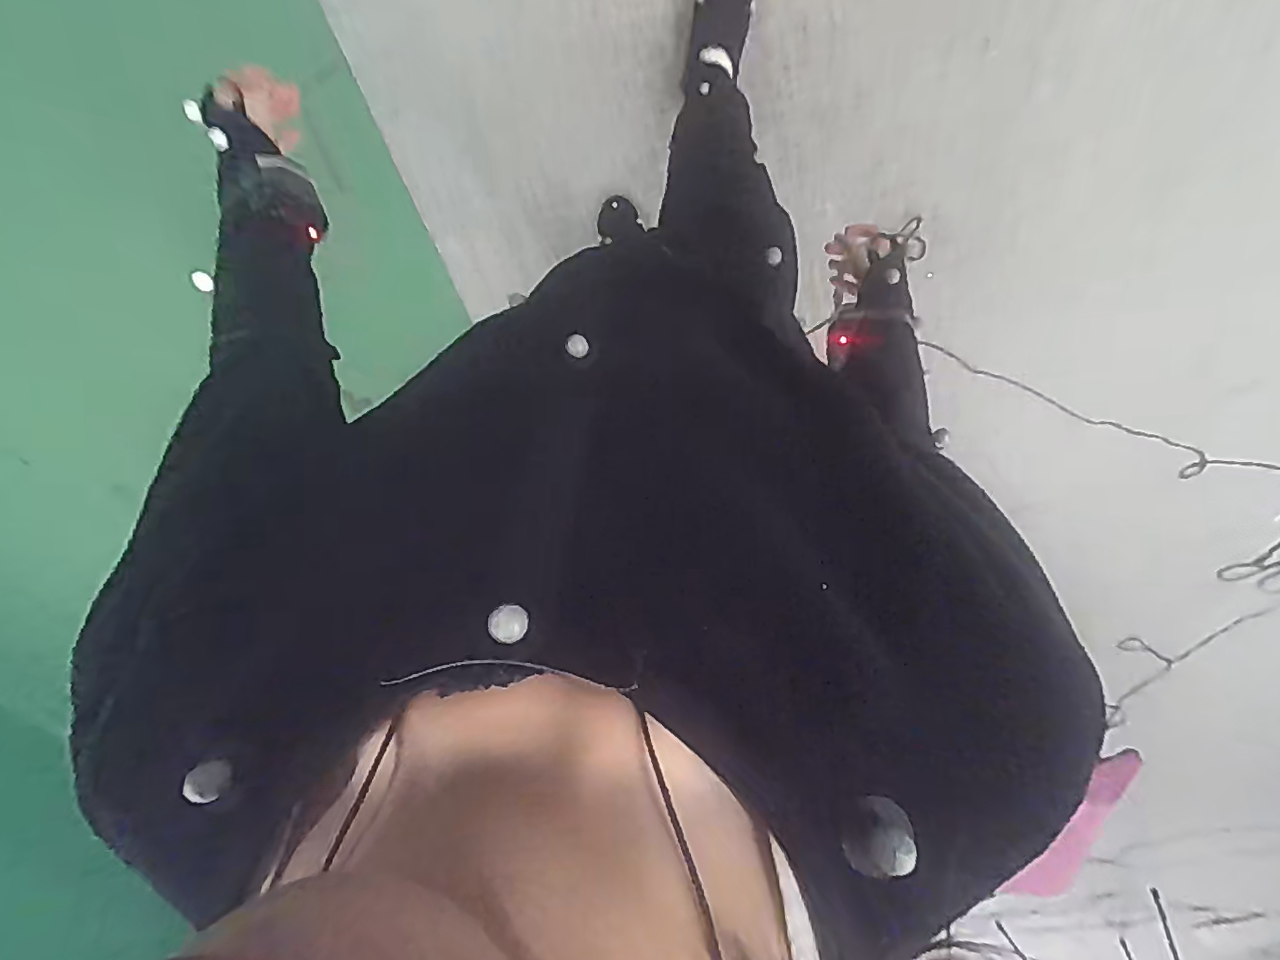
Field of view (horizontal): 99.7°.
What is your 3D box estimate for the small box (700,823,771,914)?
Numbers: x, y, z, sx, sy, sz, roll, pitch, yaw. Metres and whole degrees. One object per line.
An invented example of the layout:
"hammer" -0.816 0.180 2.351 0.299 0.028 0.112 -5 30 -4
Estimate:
"small box" 0.262 1.072 1.497 0.168 0.176 0.179 -9 126 10
